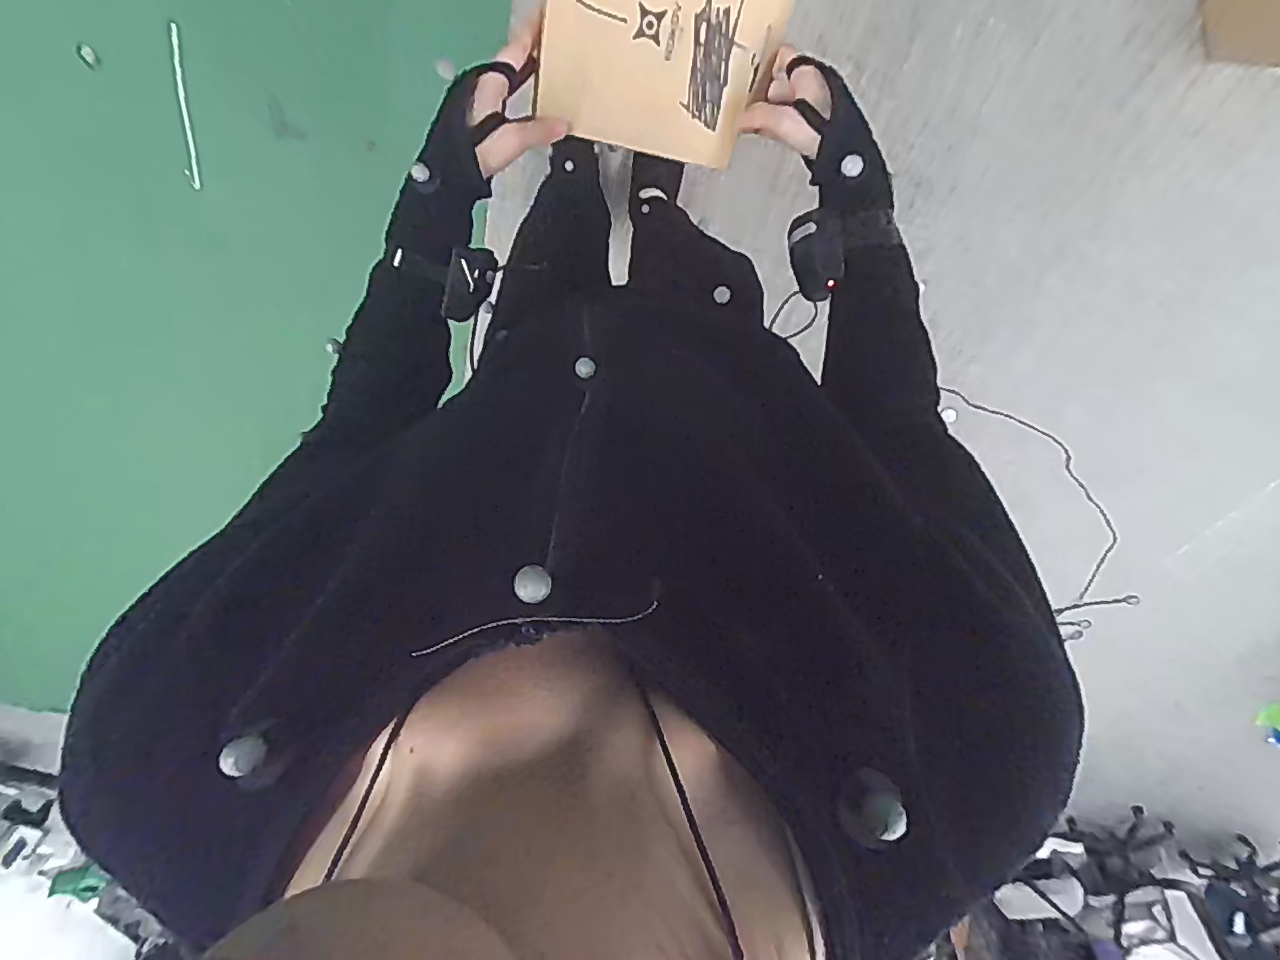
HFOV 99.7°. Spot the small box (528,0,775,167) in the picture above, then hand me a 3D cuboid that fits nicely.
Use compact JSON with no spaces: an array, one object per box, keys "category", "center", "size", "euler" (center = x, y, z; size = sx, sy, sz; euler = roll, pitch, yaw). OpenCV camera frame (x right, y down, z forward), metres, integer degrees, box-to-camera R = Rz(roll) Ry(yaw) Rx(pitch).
[{"category":"small box","center":[0.000,-0.398,0.471],"size":[0.179,0.176,0.168],"euler":[4,128,-16]}]
